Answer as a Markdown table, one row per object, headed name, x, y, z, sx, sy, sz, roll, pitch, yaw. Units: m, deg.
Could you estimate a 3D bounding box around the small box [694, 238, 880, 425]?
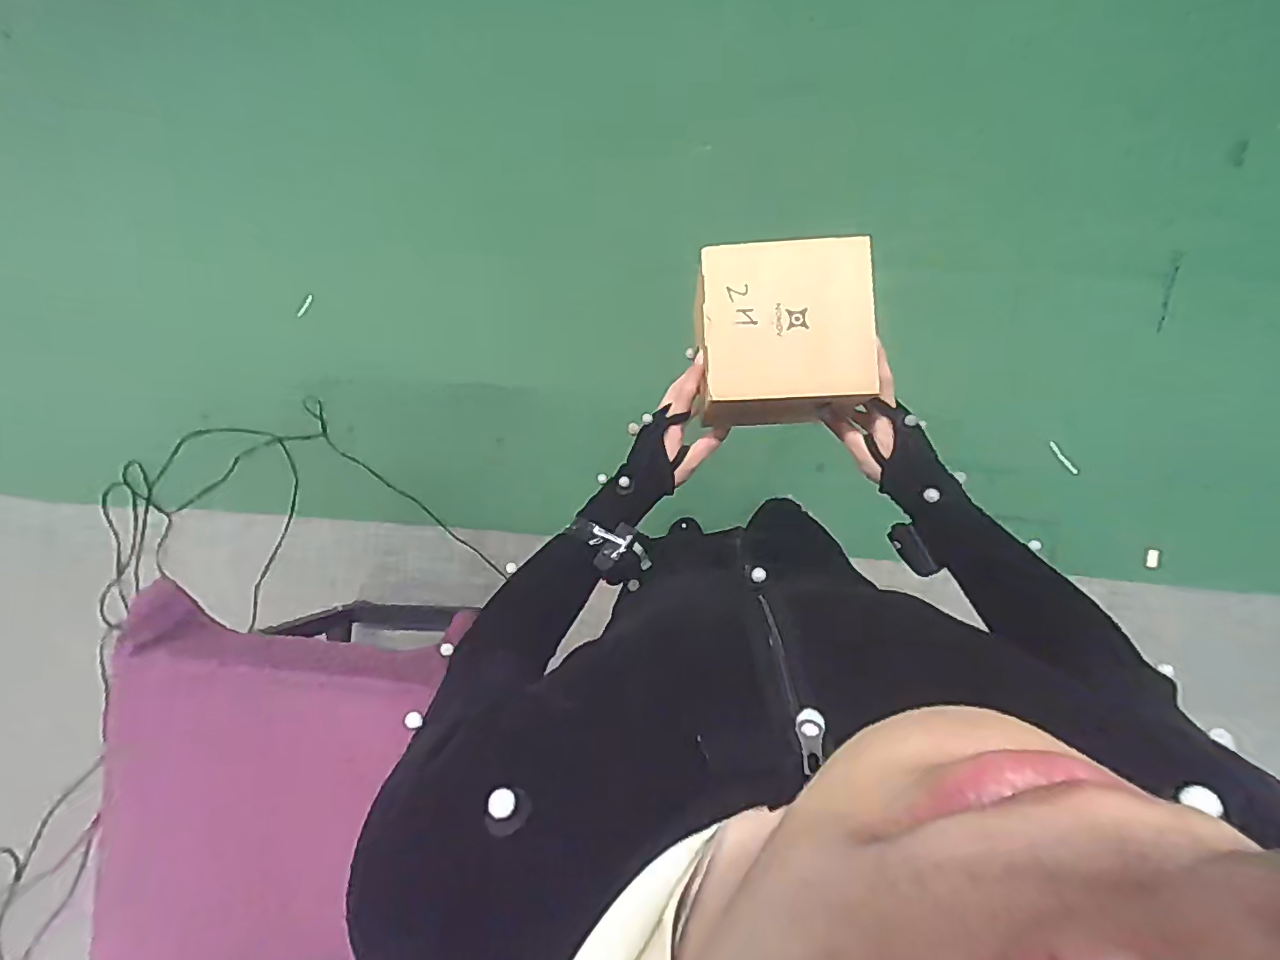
| name | x | y | z | sx | sy | sz | roll | pitch | yaw |
| --- | --- | --- | --- | --- | --- | --- | --- | --- | --- |
| small box | 0.156 | -0.159 | 0.629 | 0.179 | 0.176 | 0.168 | -2 | 86 | 4 |
